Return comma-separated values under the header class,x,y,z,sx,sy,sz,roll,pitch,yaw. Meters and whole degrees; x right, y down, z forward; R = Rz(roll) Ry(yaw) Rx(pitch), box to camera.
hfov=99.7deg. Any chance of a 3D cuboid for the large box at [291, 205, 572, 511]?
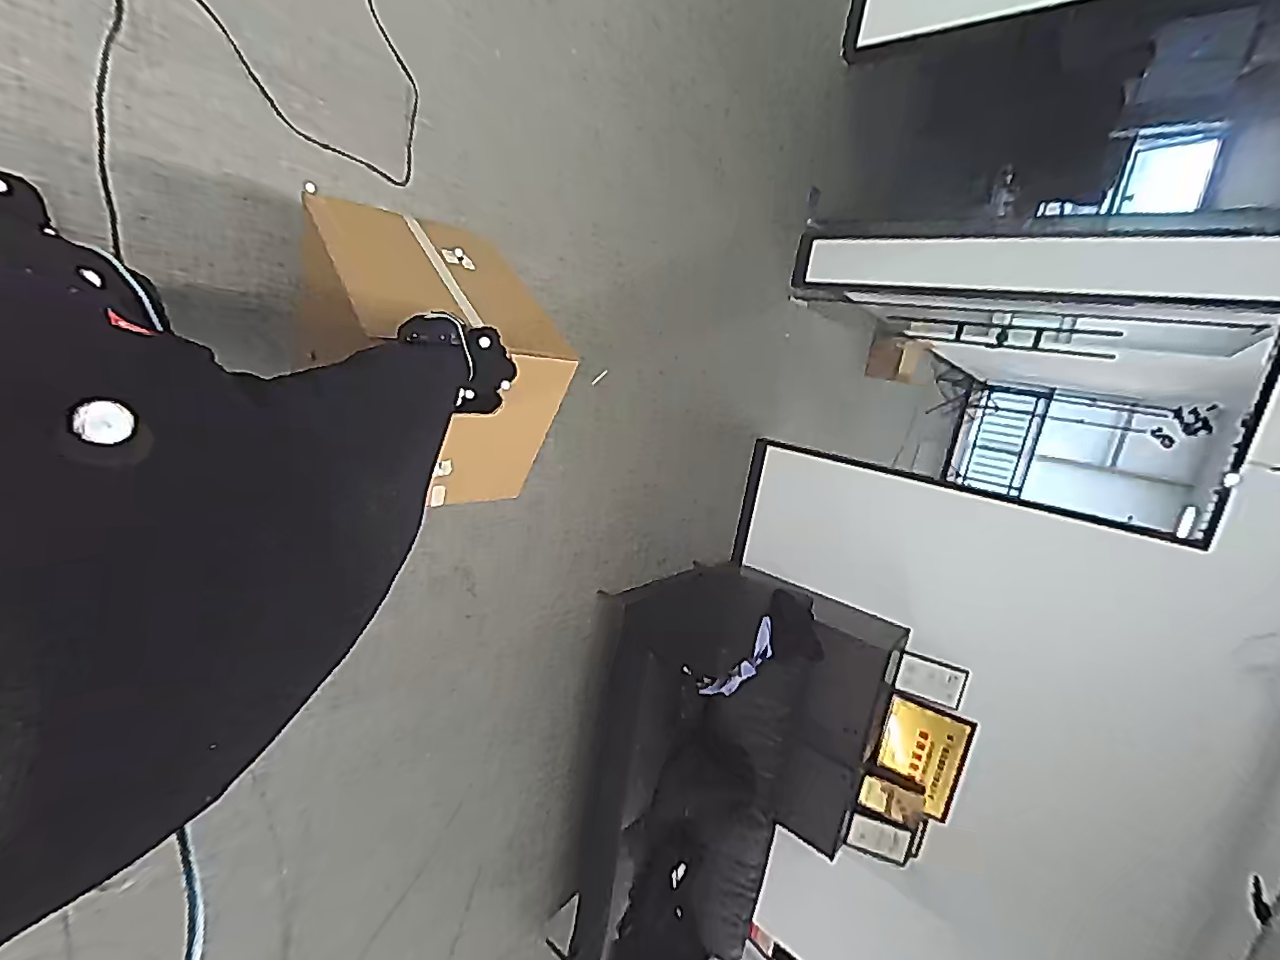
class,x,y,z,sx,sy,sz,roll,pitch,yaw
large box,-0.383,-0.203,0.940,0.320,0.408,0.320,-3,136,-43
